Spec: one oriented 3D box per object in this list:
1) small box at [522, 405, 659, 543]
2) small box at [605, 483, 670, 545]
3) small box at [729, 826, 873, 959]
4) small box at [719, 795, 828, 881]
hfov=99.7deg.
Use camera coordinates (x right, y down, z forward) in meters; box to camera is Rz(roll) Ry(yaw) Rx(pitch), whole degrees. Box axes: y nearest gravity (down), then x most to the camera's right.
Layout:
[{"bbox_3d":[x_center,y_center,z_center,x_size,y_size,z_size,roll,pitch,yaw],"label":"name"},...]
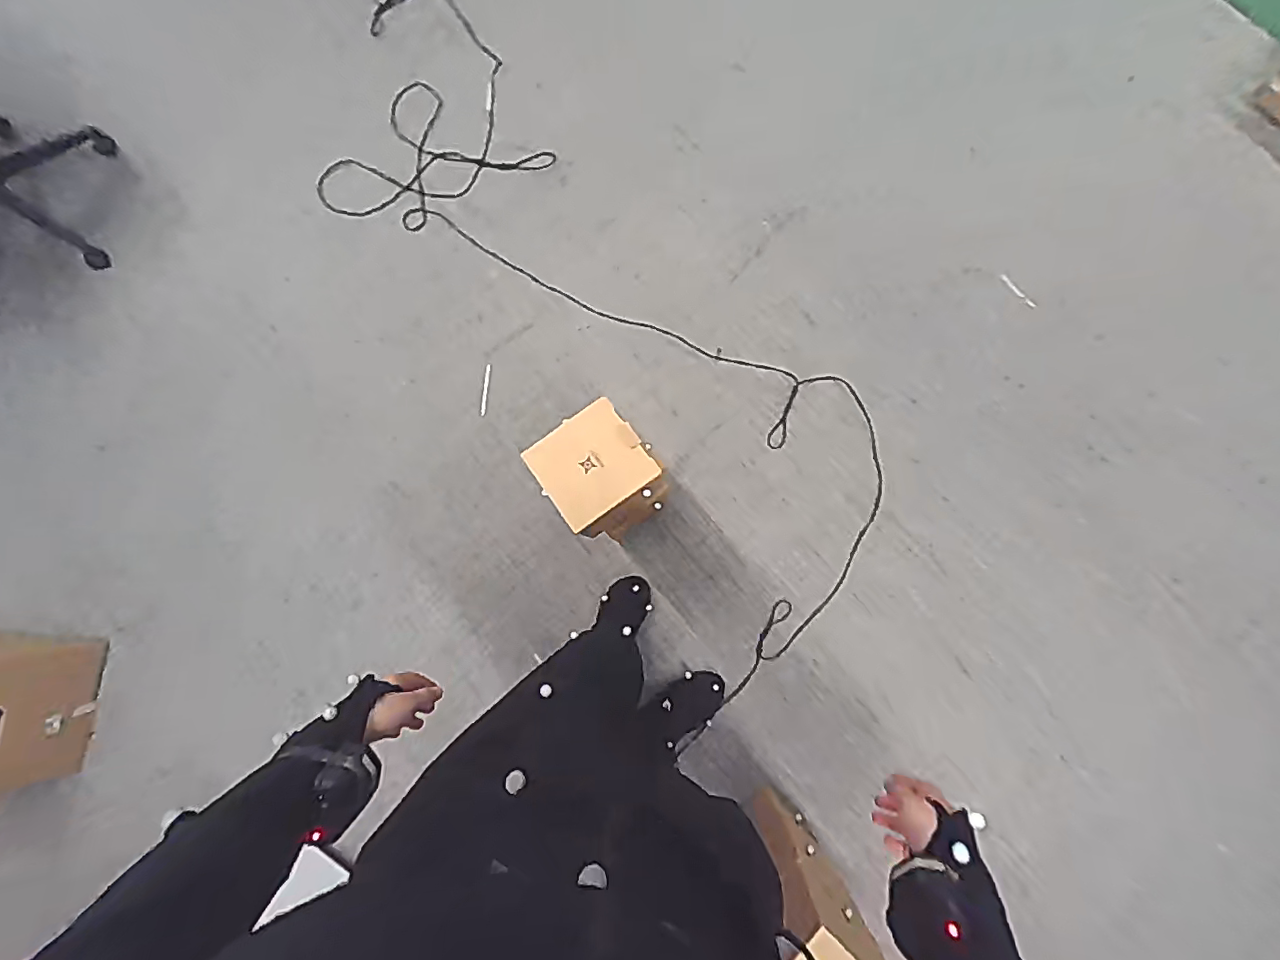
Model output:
[{"bbox_3d":[-0.077,0.000,0.966,0.179,0.176,0.168,-36,81,-3],"label":"small box"},{"bbox_3d":[-0.046,0.038,1.289,0.179,0.176,0.168,-42,80,-3],"label":"small box"},{"bbox_3d":[0.281,0.780,0.995,0.168,0.176,0.179,-45,82,-2],"label":"small box"},{"bbox_3d":[0.285,0.811,1.154,0.168,0.176,0.179,-41,81,-2],"label":"small box"}]
